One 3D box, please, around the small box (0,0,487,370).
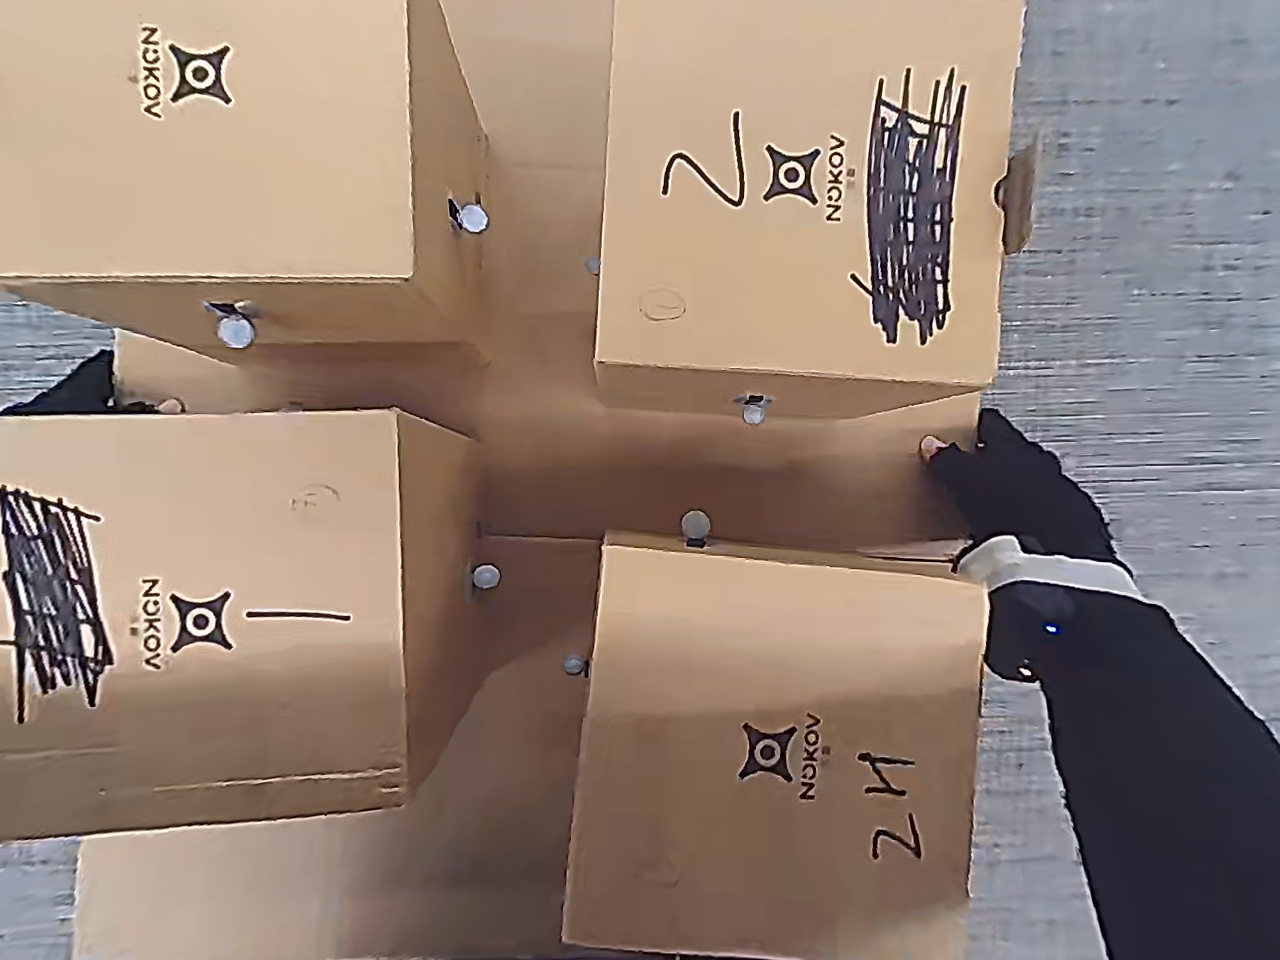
[{"bbox_3d":[-0.188,-0.160,0.305,0.179,0.176,0.168,-2,90,-3],"label":"small box"}]
